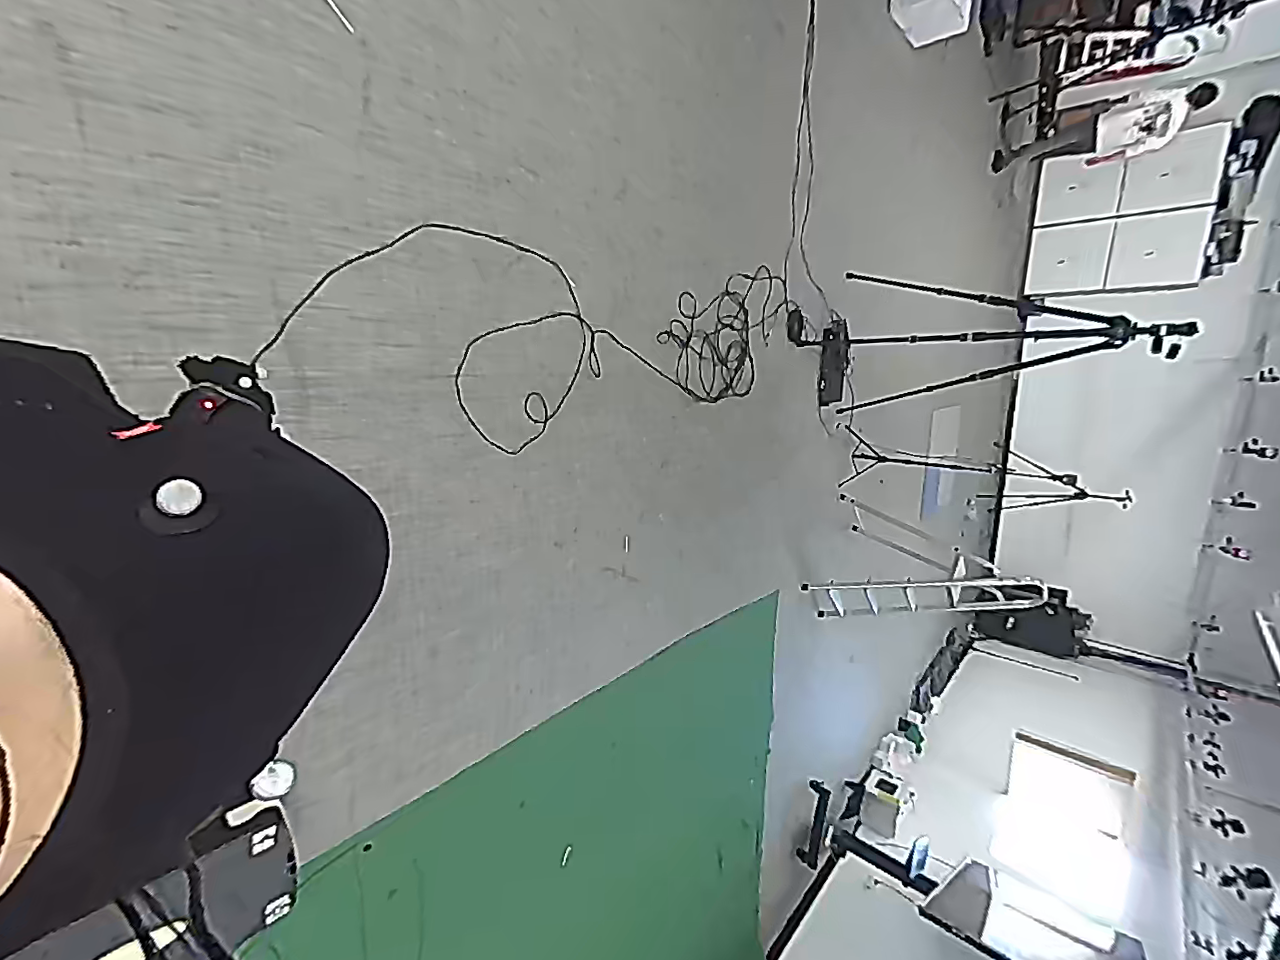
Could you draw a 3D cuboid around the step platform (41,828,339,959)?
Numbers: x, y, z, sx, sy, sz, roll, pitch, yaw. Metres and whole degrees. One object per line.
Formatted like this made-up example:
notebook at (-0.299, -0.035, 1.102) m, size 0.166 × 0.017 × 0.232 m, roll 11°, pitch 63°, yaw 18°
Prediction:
step platform at (-0.965, 0.994, 1.006) m, size 0.684 × 0.204 × 0.286 m, roll -14°, pitch 108°, yaw -48°
